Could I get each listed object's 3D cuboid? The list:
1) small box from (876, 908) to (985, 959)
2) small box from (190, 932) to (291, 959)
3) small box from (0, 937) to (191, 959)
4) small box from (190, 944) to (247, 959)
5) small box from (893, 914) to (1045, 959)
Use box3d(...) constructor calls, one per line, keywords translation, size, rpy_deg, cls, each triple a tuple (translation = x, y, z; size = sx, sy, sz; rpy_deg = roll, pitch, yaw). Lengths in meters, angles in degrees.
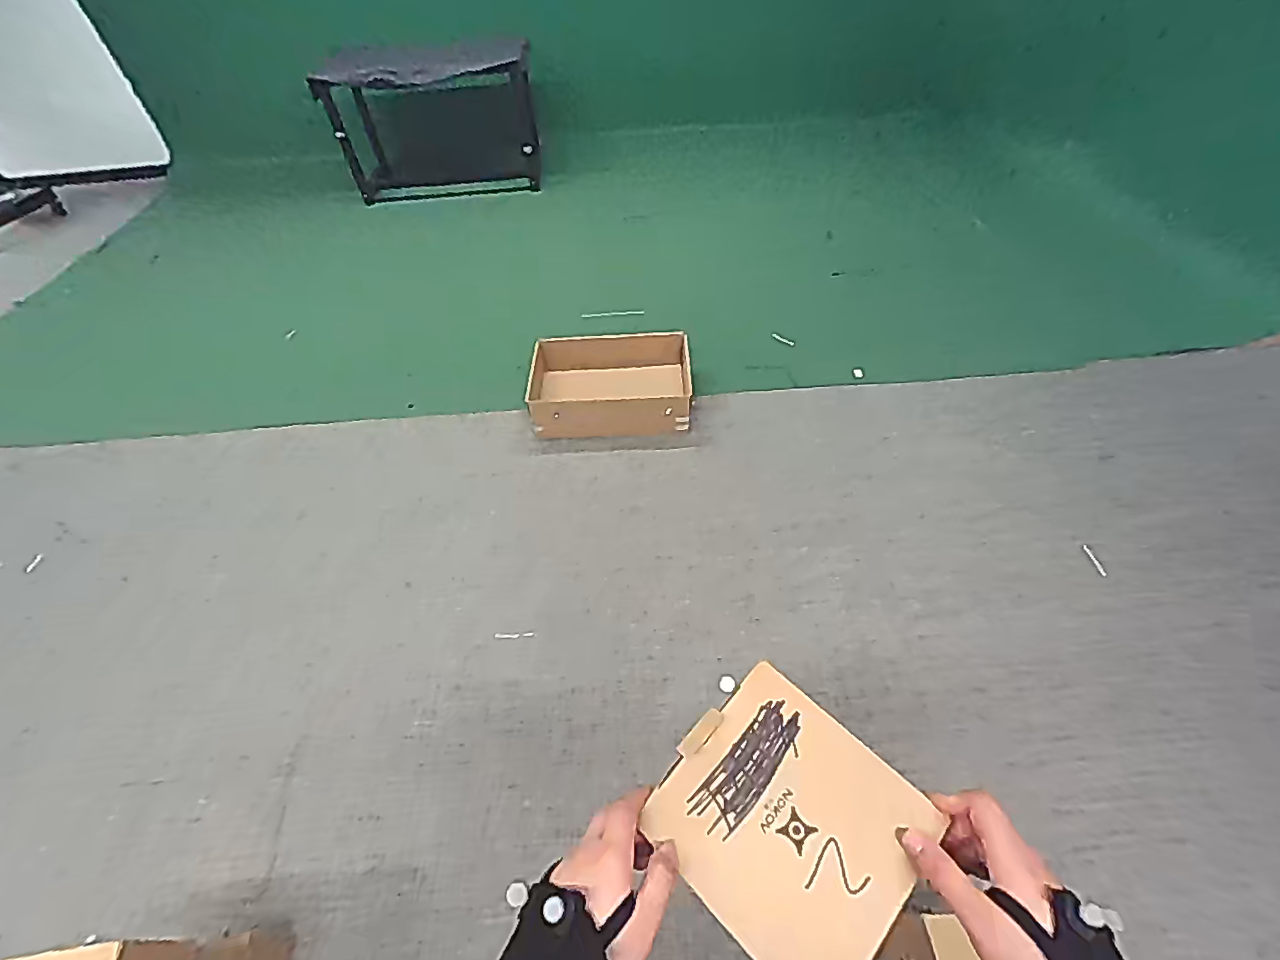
box3d(translation=(0.564, 0.919, 1.009), size=(0.168, 0.176, 0.179), rpy_deg=(-3, 49, 1), cls="small box")
box3d(translation=(-0.816, 0.993, 1.041), size=(0.179, 0.176, 0.168), rpy_deg=(-10, 49, -4), cls="small box")
box3d(translation=(-0.824, 0.788, 0.787), size=(0.179, 0.176, 0.168), rpy_deg=(-7, 49, -3), cls="small box")
box3d(translation=(-0.820, 0.899, 0.906), size=(0.179, 0.176, 0.168), rpy_deg=(-6, 50, -3), cls="small box")
box3d(translation=(0.546, 0.818, 0.882), size=(0.179, 0.176, 0.168), rpy_deg=(-4, 48, 2), cls="small box")
